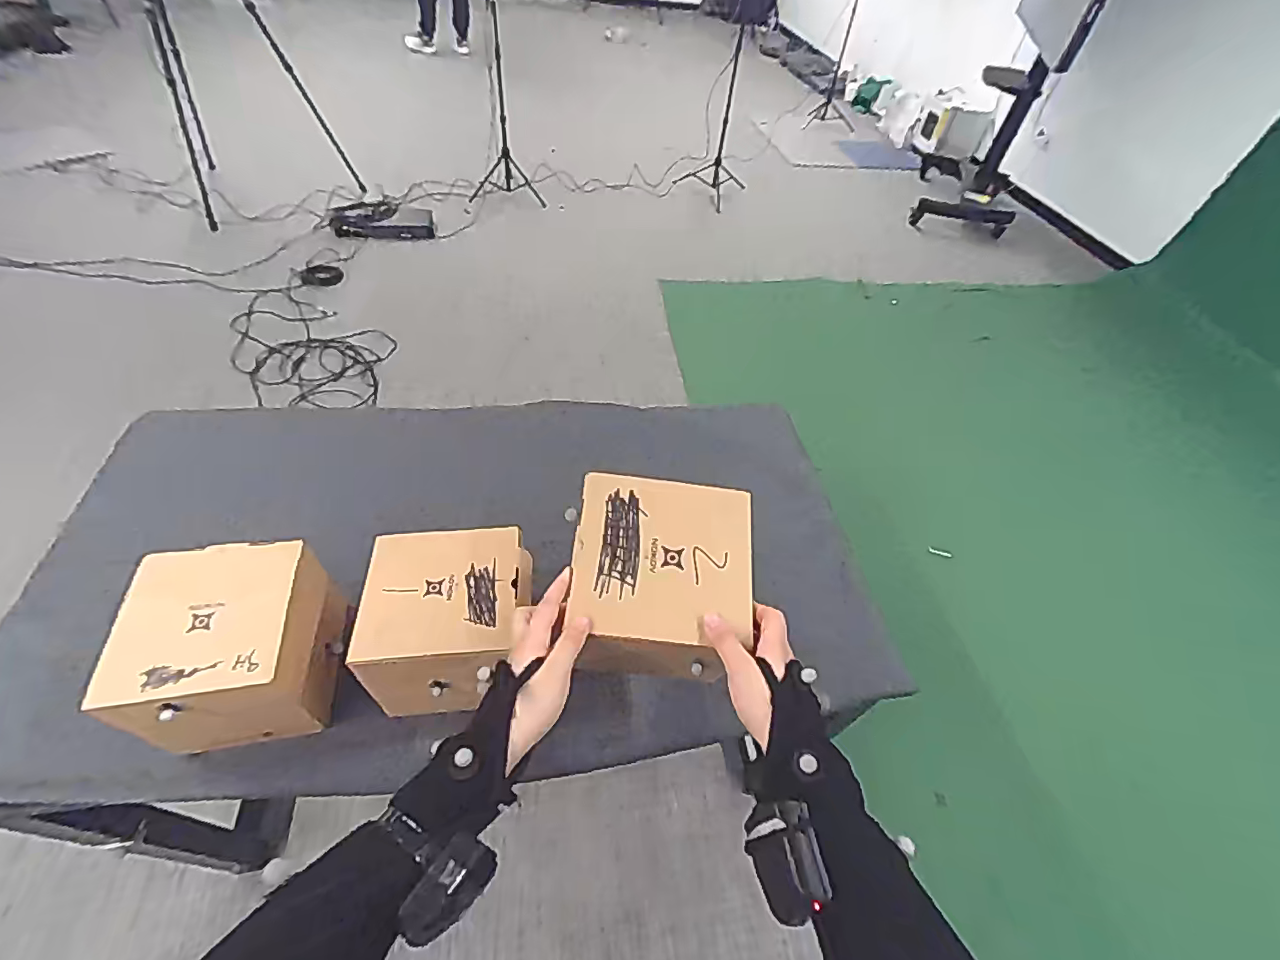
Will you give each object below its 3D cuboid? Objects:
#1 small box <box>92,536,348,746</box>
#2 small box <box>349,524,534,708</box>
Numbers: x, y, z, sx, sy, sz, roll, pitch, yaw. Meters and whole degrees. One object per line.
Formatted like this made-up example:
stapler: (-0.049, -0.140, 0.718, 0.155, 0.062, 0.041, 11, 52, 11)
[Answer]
small box: (-0.466, 0.190, 0.642, 0.168, 0.176, 0.179, -5, 51, -11)
small box: (-0.229, 0.173, 0.681, 0.179, 0.176, 0.168, -3, 49, -6)
